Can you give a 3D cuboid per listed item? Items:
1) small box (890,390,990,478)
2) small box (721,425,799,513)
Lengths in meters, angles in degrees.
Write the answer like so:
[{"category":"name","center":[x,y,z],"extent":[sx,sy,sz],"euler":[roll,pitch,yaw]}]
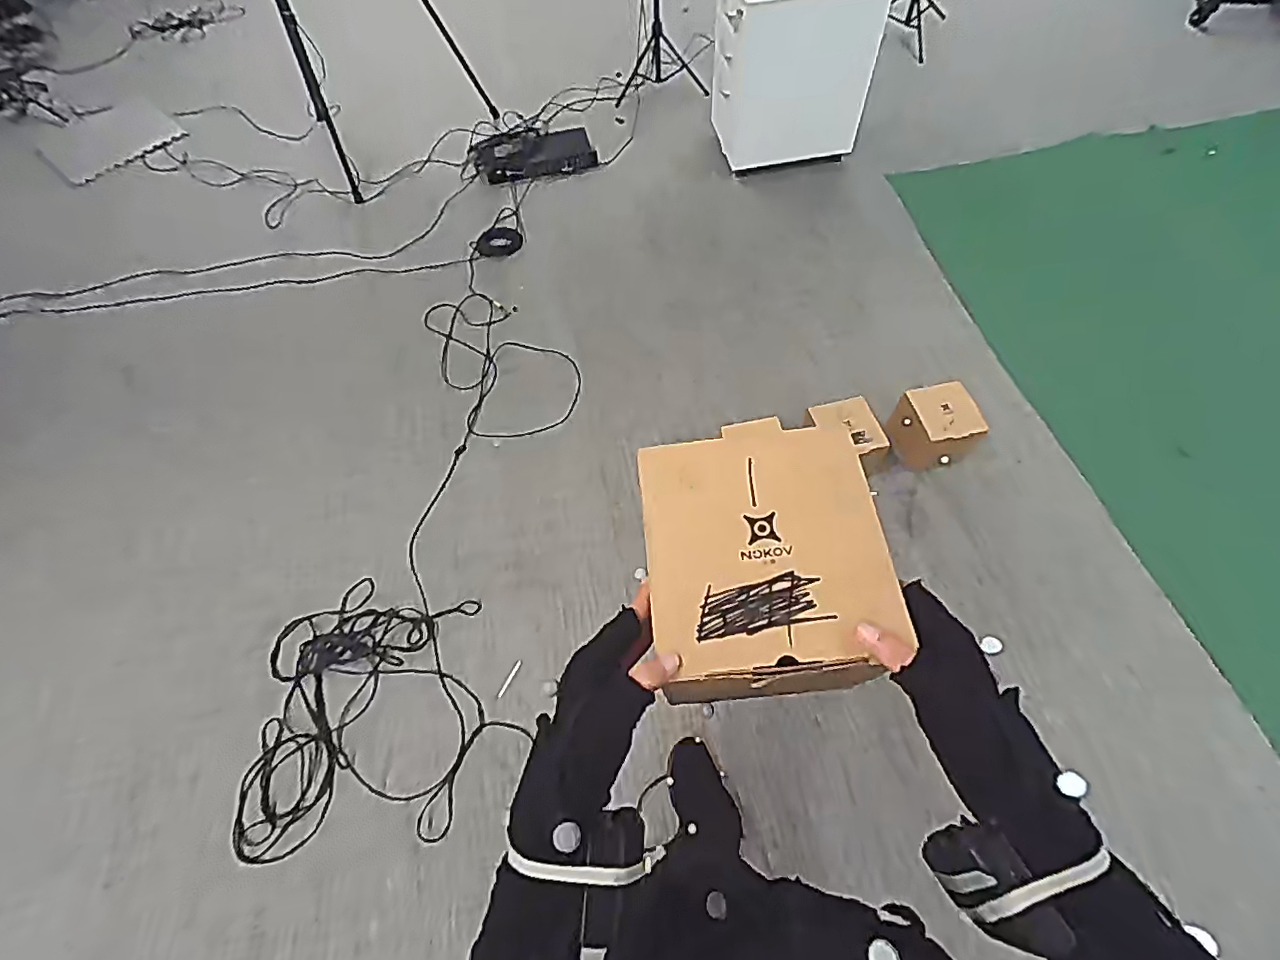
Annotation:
[{"category":"small box","center":[0.853,-0.130,1.560],"extent":[0.168,0.176,0.179],"euler":[-11,61,-1]},{"category":"small box","center":[0.334,-0.028,1.542],"extent":[0.168,0.176,0.179],"euler":[-11,61,-1]}]
